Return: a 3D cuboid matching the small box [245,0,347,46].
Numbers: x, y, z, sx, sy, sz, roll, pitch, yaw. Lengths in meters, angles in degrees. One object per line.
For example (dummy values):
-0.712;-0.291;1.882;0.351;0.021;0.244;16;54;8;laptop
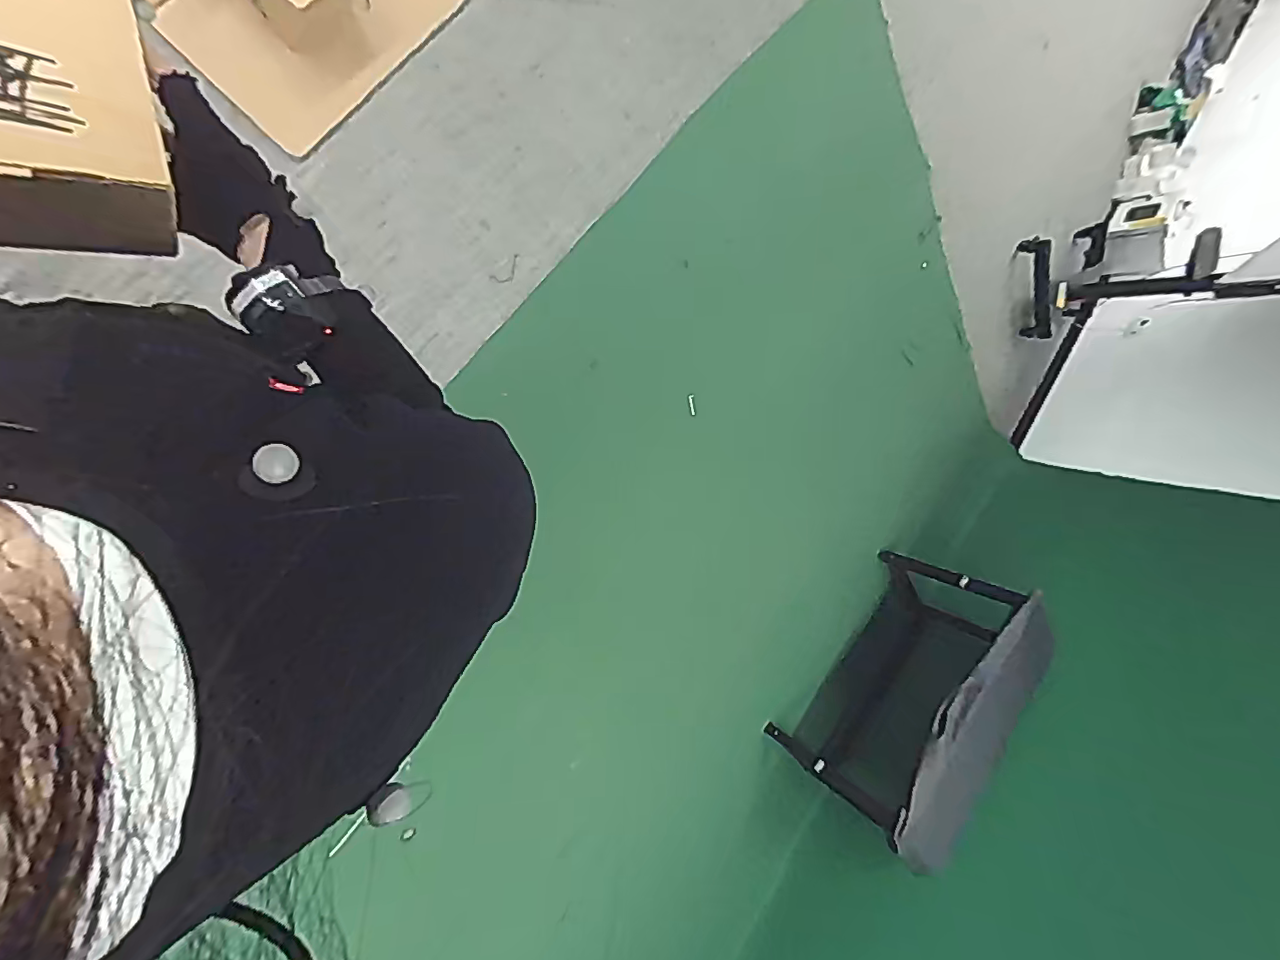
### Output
-0.679;-0.995;1.038;0.179;0.176;0.168;-51;125;-15;small box
